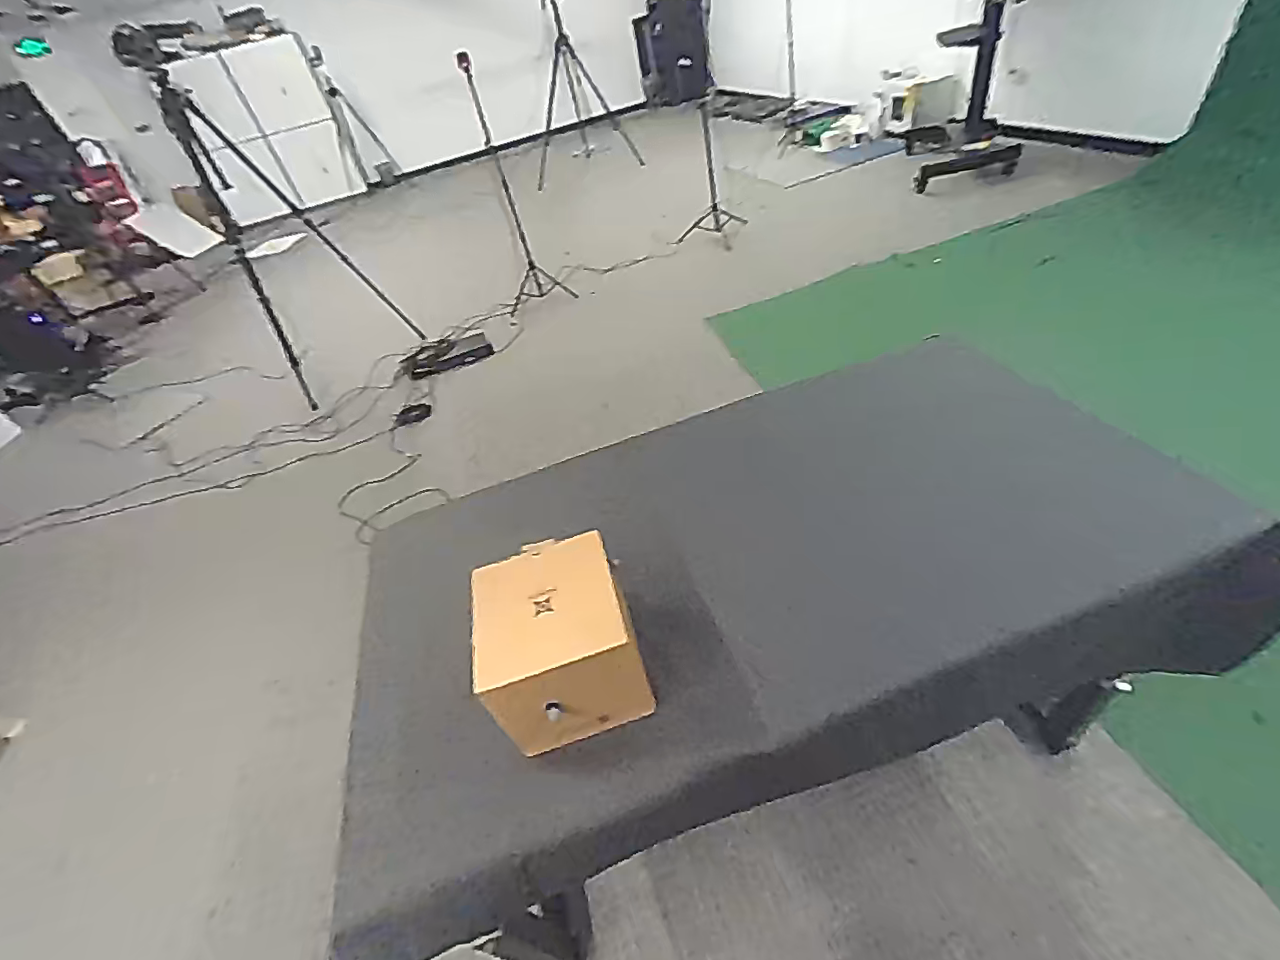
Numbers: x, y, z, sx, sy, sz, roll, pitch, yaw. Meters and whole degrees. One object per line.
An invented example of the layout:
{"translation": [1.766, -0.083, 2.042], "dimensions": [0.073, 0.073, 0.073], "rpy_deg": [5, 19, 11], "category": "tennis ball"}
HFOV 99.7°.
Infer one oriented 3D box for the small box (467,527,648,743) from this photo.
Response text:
{"translation": [-0.098, 0.194, 0.661], "dimensions": [0.168, 0.176, 0.179], "rpy_deg": [-18, 40, -4], "category": "small box"}
